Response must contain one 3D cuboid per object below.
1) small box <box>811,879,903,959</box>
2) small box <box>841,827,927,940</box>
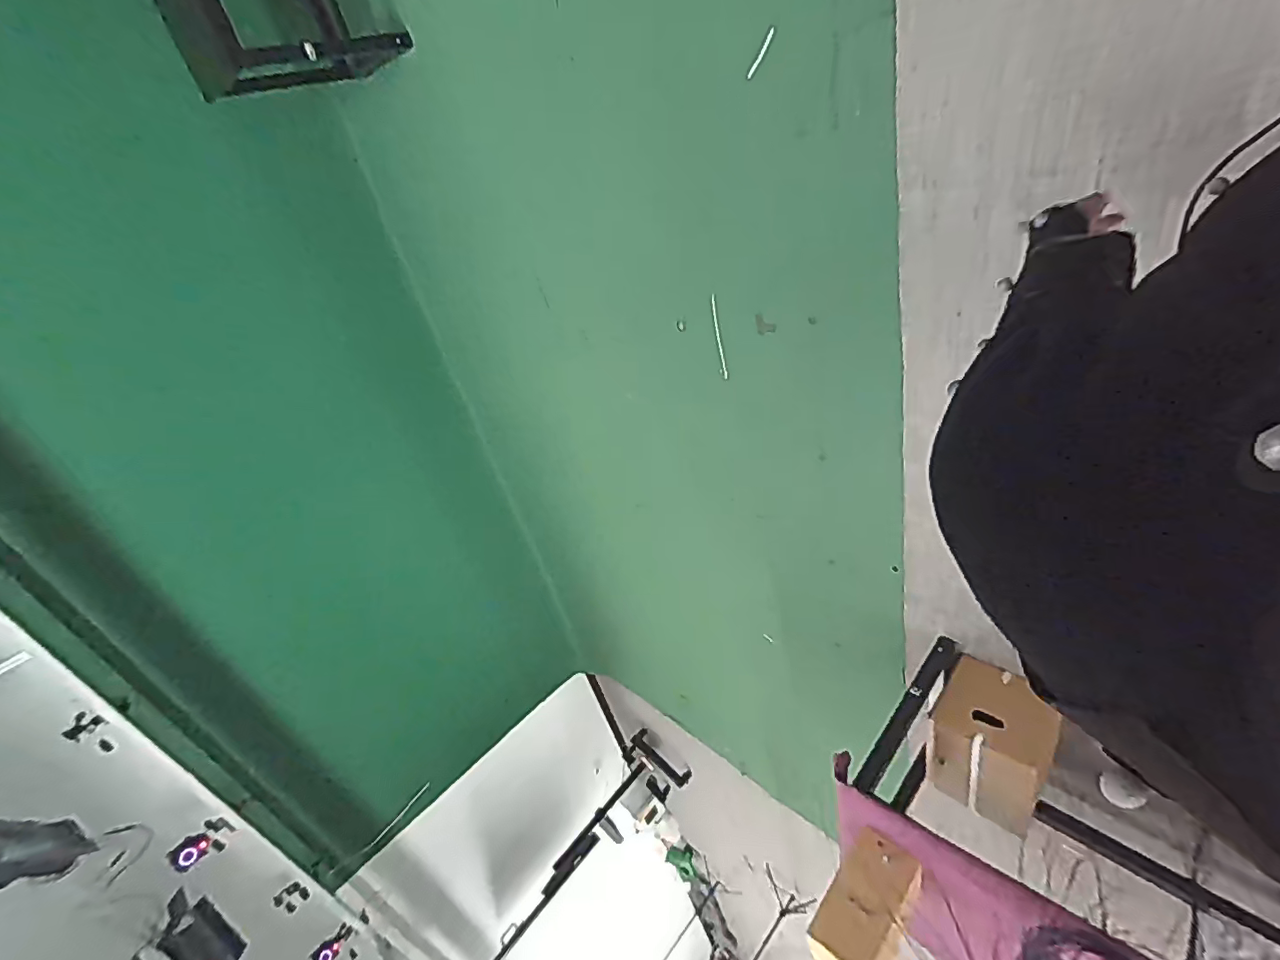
[{"bbox_3d":[0.577,1.213,1.423,0.168,0.176,0.179,14,132,45],"label":"small box"},{"bbox_3d":[0.684,1.126,1.509,0.168,0.176,0.179,17,134,44],"label":"small box"}]
